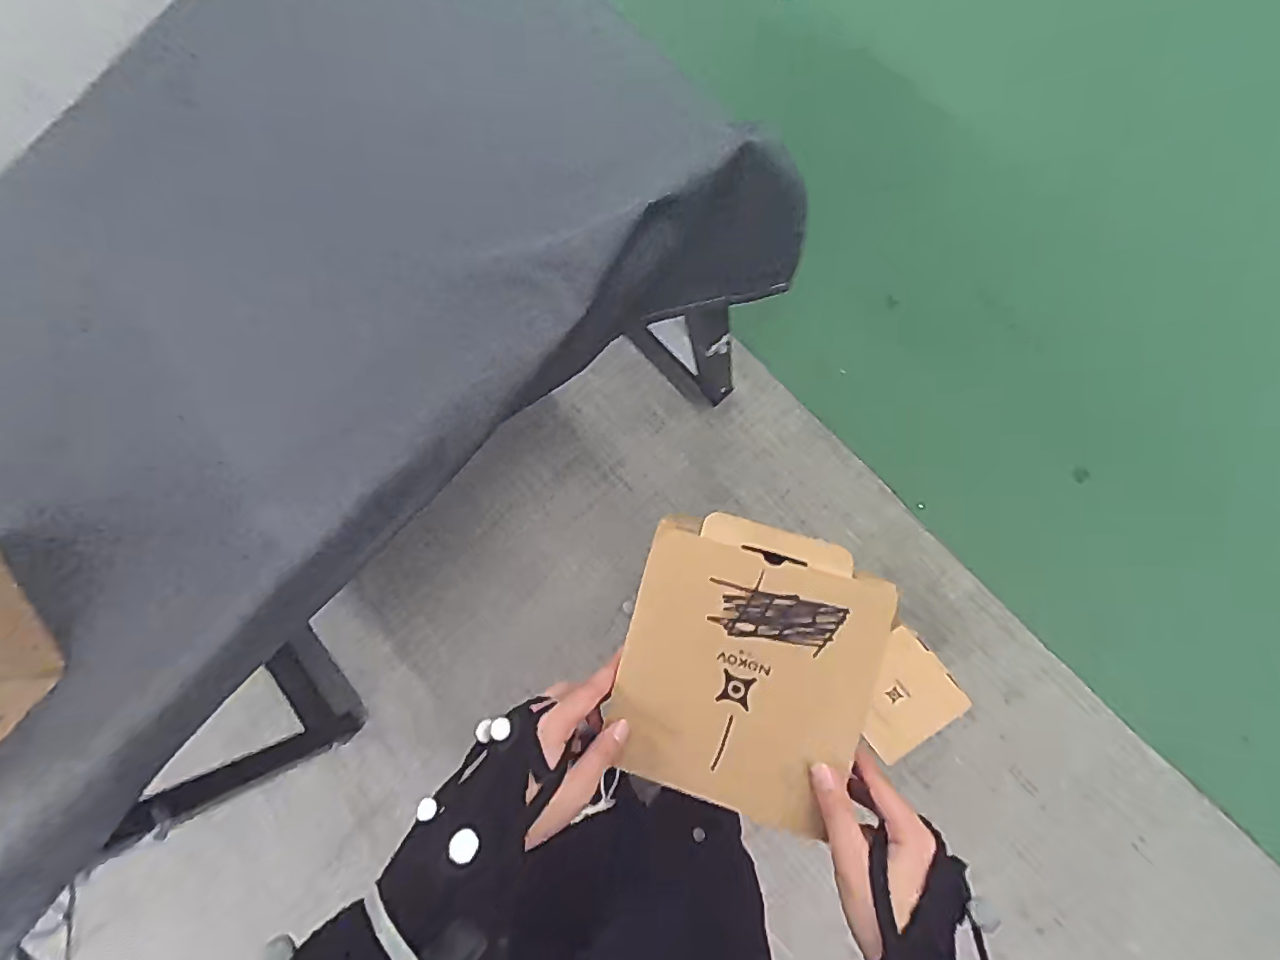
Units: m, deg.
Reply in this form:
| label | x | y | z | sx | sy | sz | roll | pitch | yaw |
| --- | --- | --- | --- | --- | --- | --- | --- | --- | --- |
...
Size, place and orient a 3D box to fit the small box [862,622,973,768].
| label | x | y | z | sx | sy | sz | roll | pitch | yaw |
| --- | --- | --- | --- | --- | --- | --- | --- | --- | --- |
| small box | 0.442 | 0.368 | 0.974 | 0.179 | 0.176 | 0.168 | -38 | 77 | 4 |

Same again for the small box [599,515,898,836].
| label | x | y | z | sx | sy | sz | roll | pitch | yaw |
| --- | --- | --- | --- | --- | --- | --- | --- | --- | --- |
| small box | 0.081 | 0.130 | 0.440 | 0.168 | 0.176 | 0.179 | 14 | 91 | 9 |
